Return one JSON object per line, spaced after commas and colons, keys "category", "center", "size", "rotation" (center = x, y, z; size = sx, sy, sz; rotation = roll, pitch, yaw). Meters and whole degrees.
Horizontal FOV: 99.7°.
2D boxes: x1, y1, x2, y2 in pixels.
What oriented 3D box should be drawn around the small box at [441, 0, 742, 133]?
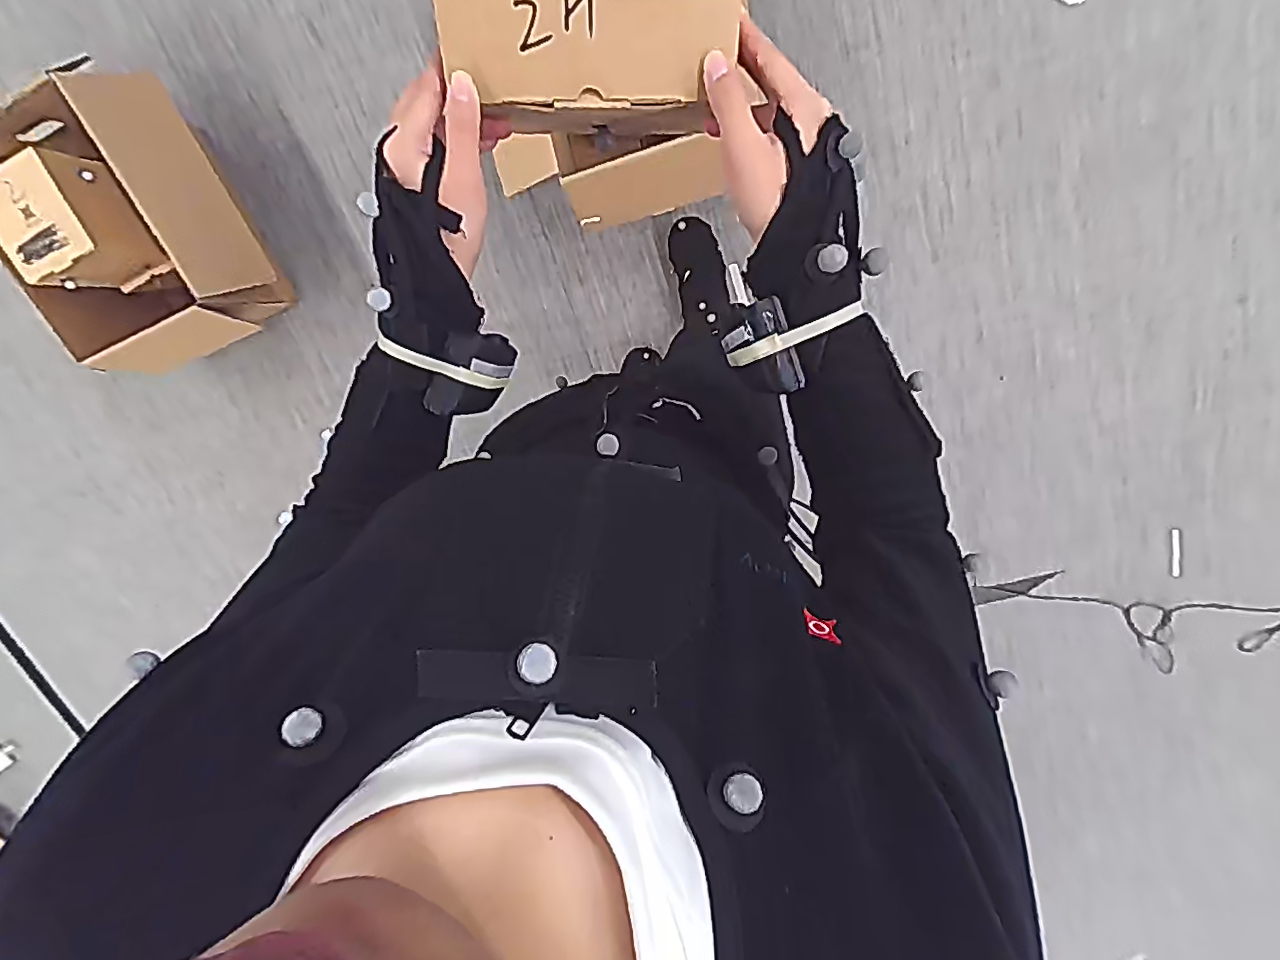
{"category": "small box", "center": [-0.026, -0.335, 0.343], "size": [0.168, 0.176, 0.179], "rotation": [0, 118, 1]}
